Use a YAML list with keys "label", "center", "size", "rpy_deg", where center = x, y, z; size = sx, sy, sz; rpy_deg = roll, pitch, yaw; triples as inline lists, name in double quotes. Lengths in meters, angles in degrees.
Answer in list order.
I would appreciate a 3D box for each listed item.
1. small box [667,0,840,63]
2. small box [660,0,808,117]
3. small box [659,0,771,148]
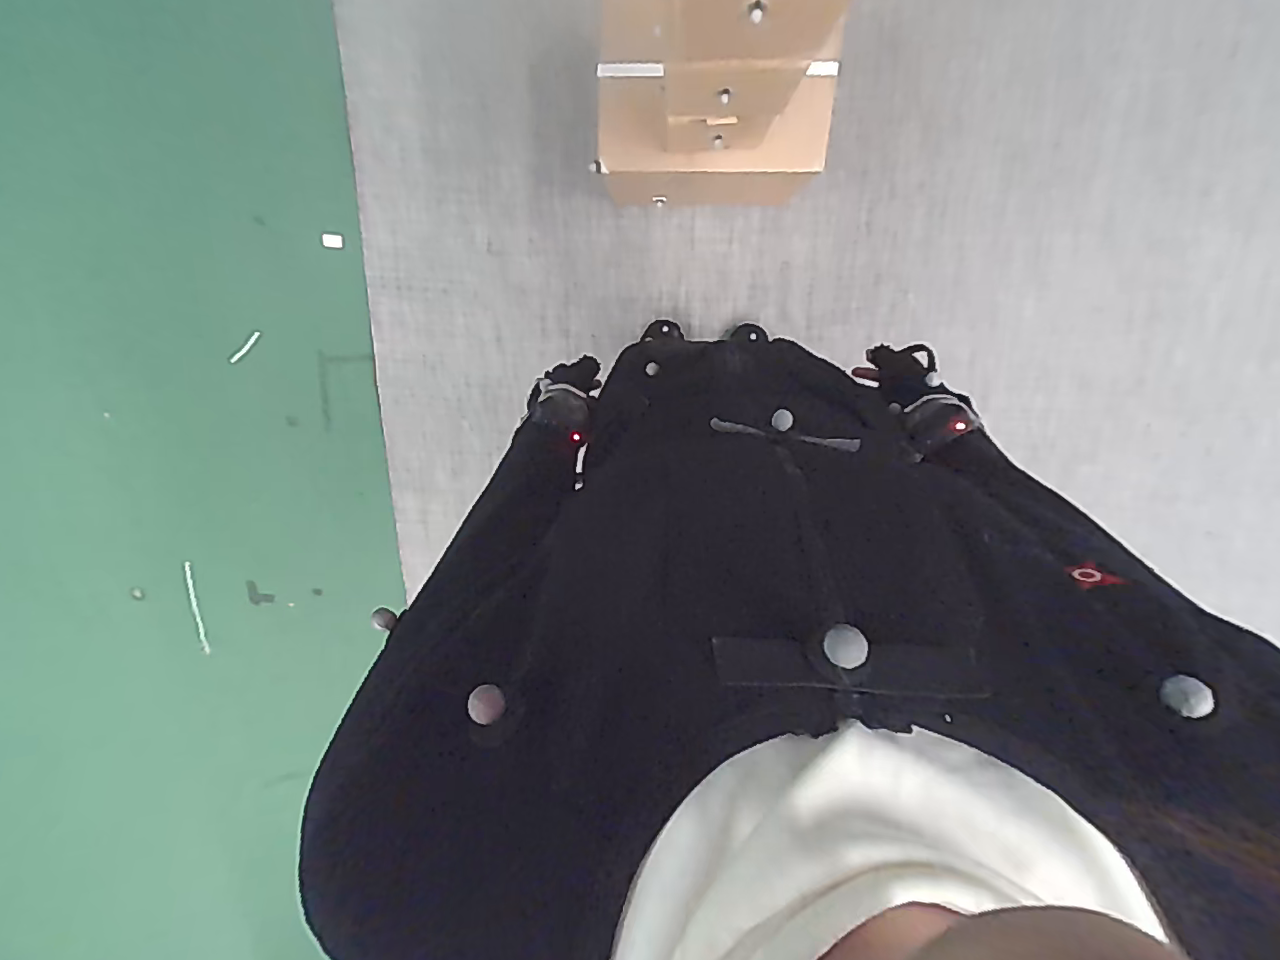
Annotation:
- label: "small box"
  center: [0.115, -0.547, 0.540]
  size: [0.179, 0.176, 0.168]
  rpy_deg: [-1, 109, 2]
- label: "small box"
  center: [0.116, -0.589, 0.696]
  size: [0.179, 0.176, 0.168]
  rpy_deg: [2, 107, 3]
- label: "small box"
  center: [0.116, -0.640, 0.853]
  size: [0.168, 0.176, 0.179]
  rpy_deg: [-2, 108, 3]
